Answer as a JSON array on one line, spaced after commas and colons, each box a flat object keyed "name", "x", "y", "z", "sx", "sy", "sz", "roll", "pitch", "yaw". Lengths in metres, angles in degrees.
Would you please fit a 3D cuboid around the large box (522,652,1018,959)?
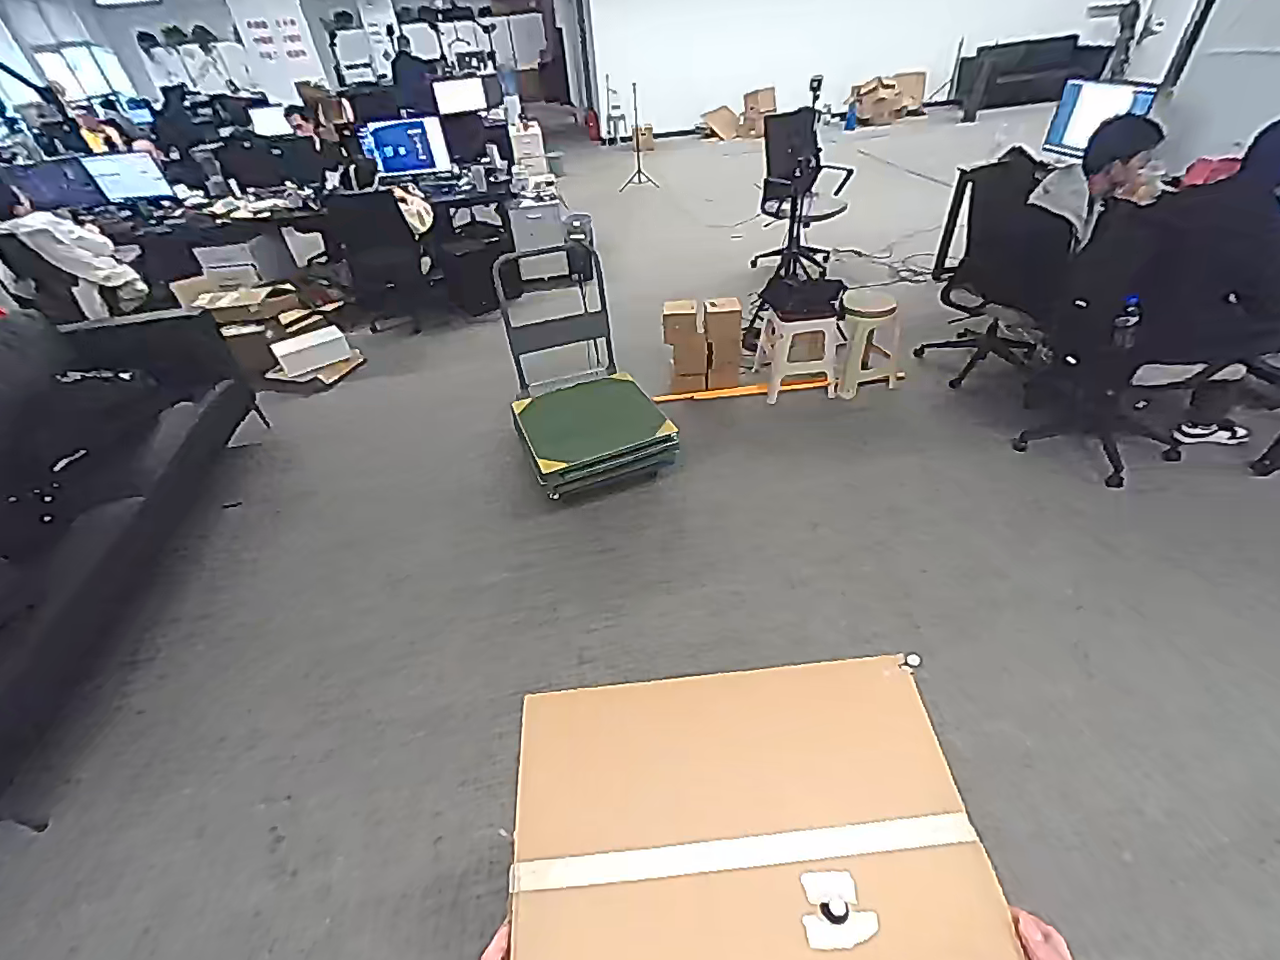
[{"name": "large box", "x": 0.101, "y": 0.420, "z": 0.600, "sx": 0.408, "sy": 0.320, "sz": 0.320, "roll": -6, "pitch": 52, "yaw": 0}]
